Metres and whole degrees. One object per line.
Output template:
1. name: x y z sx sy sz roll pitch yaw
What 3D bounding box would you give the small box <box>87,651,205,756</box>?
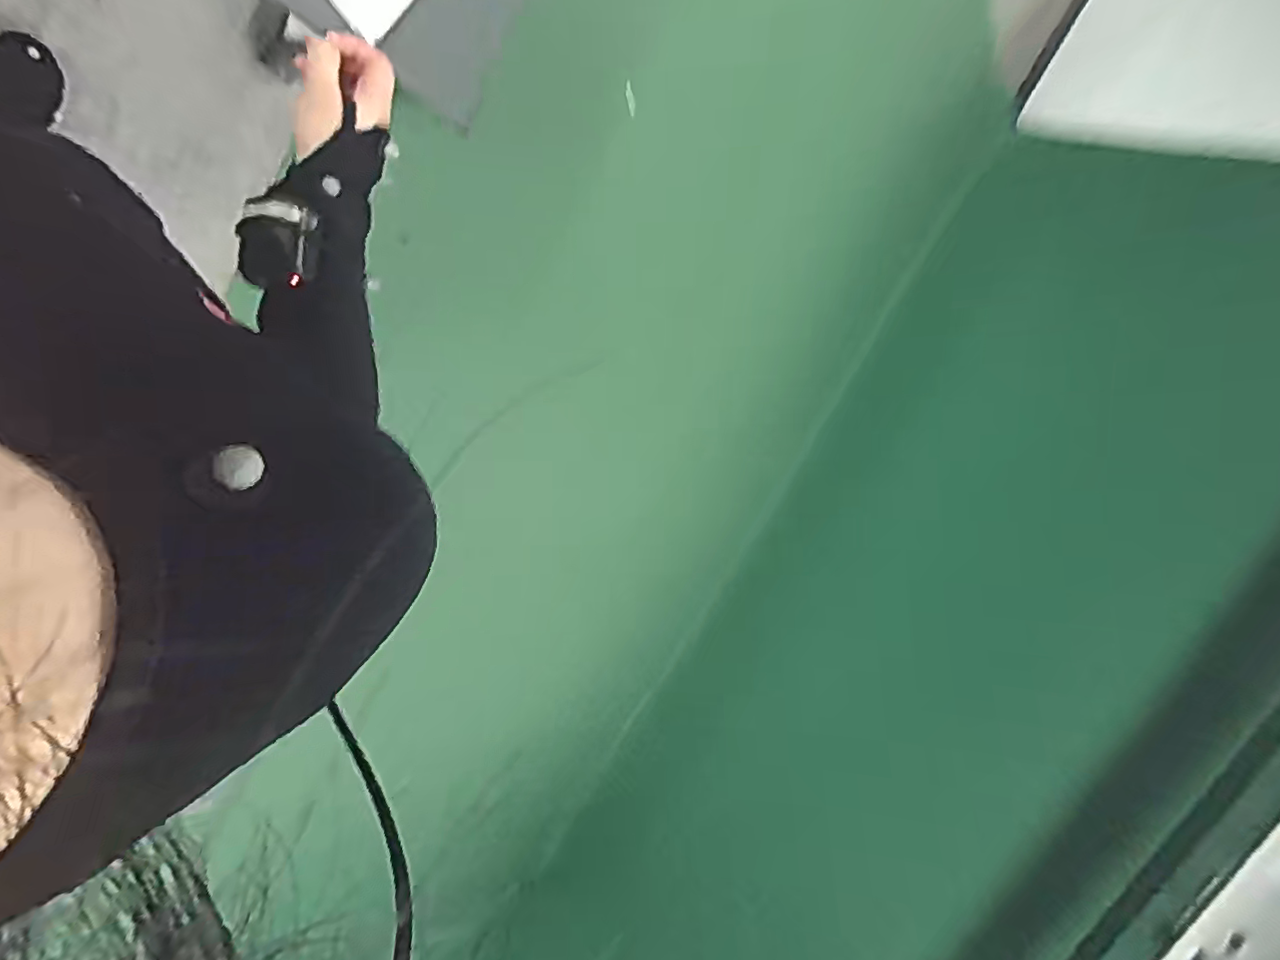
1. small box: -1.237 0.547 1.353 0.179 0.176 0.168 19 105 -53
